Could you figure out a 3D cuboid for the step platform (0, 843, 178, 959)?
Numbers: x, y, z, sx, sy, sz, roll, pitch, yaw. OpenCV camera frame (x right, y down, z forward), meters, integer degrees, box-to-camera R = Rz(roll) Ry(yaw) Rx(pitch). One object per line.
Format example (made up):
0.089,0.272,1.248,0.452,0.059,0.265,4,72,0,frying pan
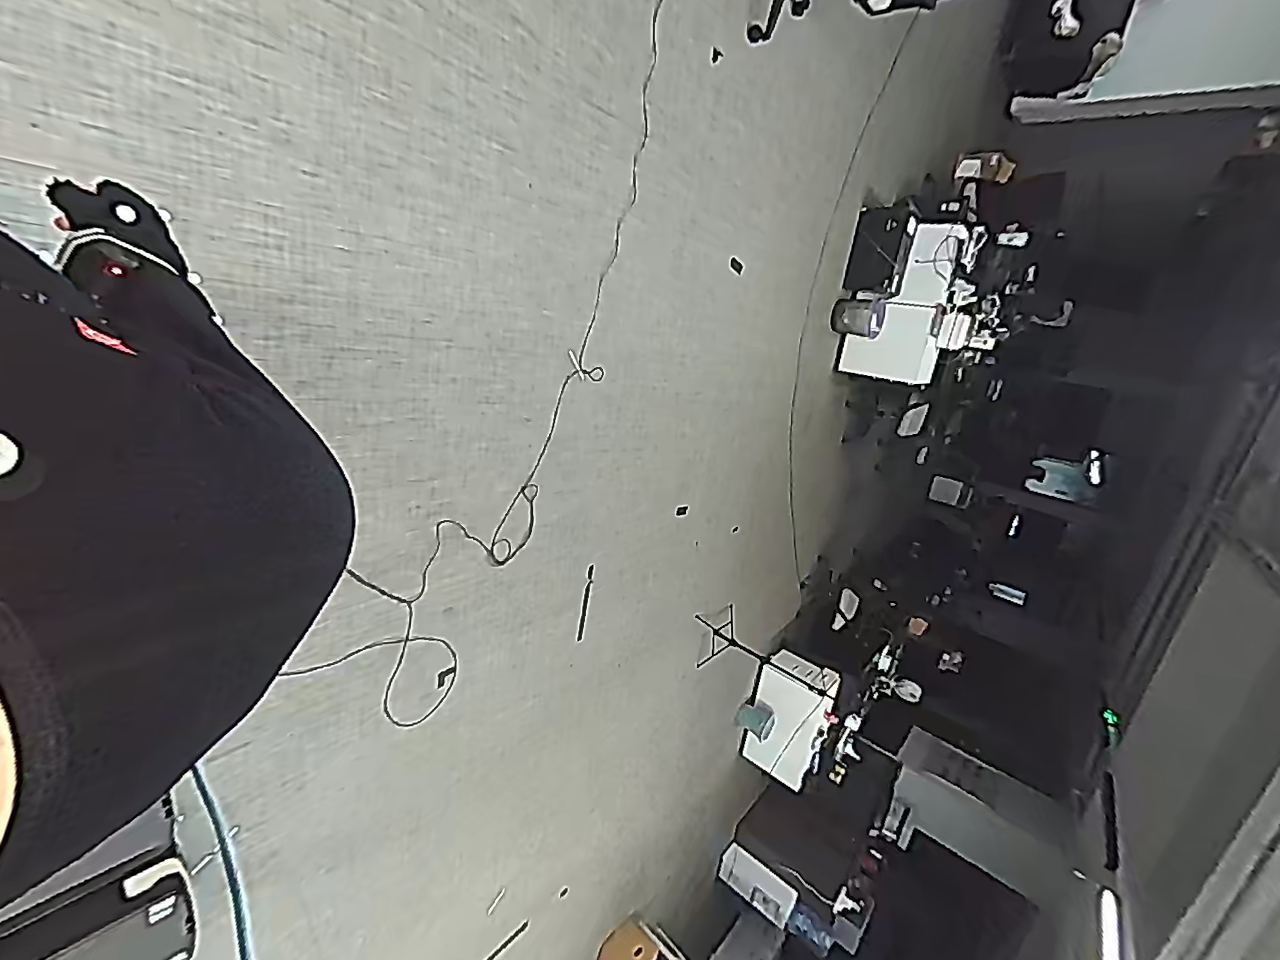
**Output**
-1.427,1.131,1.145,0.684,0.204,0.286,-13,117,-48,step platform
